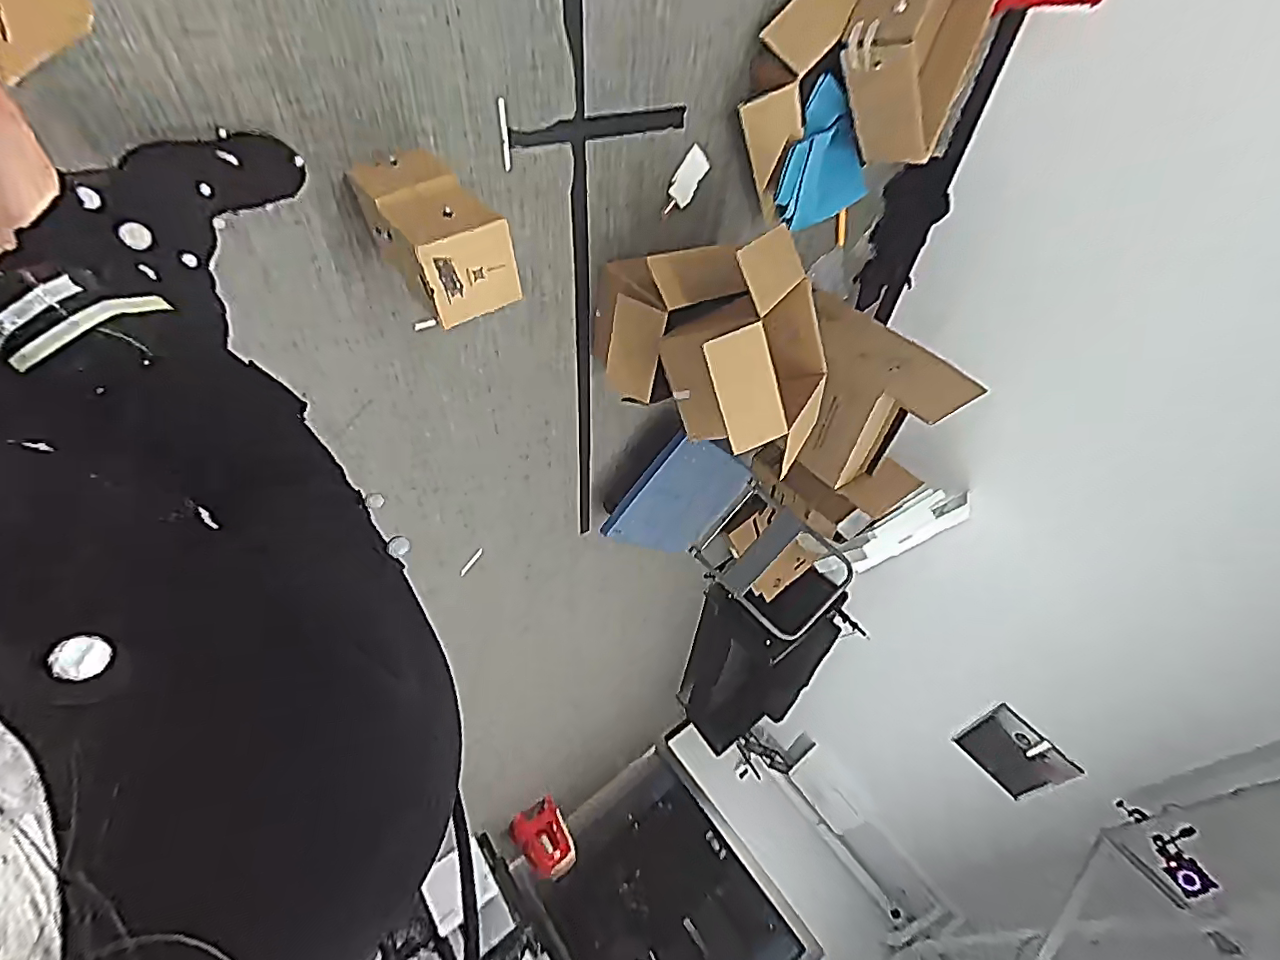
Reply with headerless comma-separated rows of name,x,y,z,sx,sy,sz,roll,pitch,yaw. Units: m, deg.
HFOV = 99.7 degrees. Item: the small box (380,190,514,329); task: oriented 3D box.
small box,-0.369,-0.424,1.031,0.179,0.176,0.168,-32,148,-24
